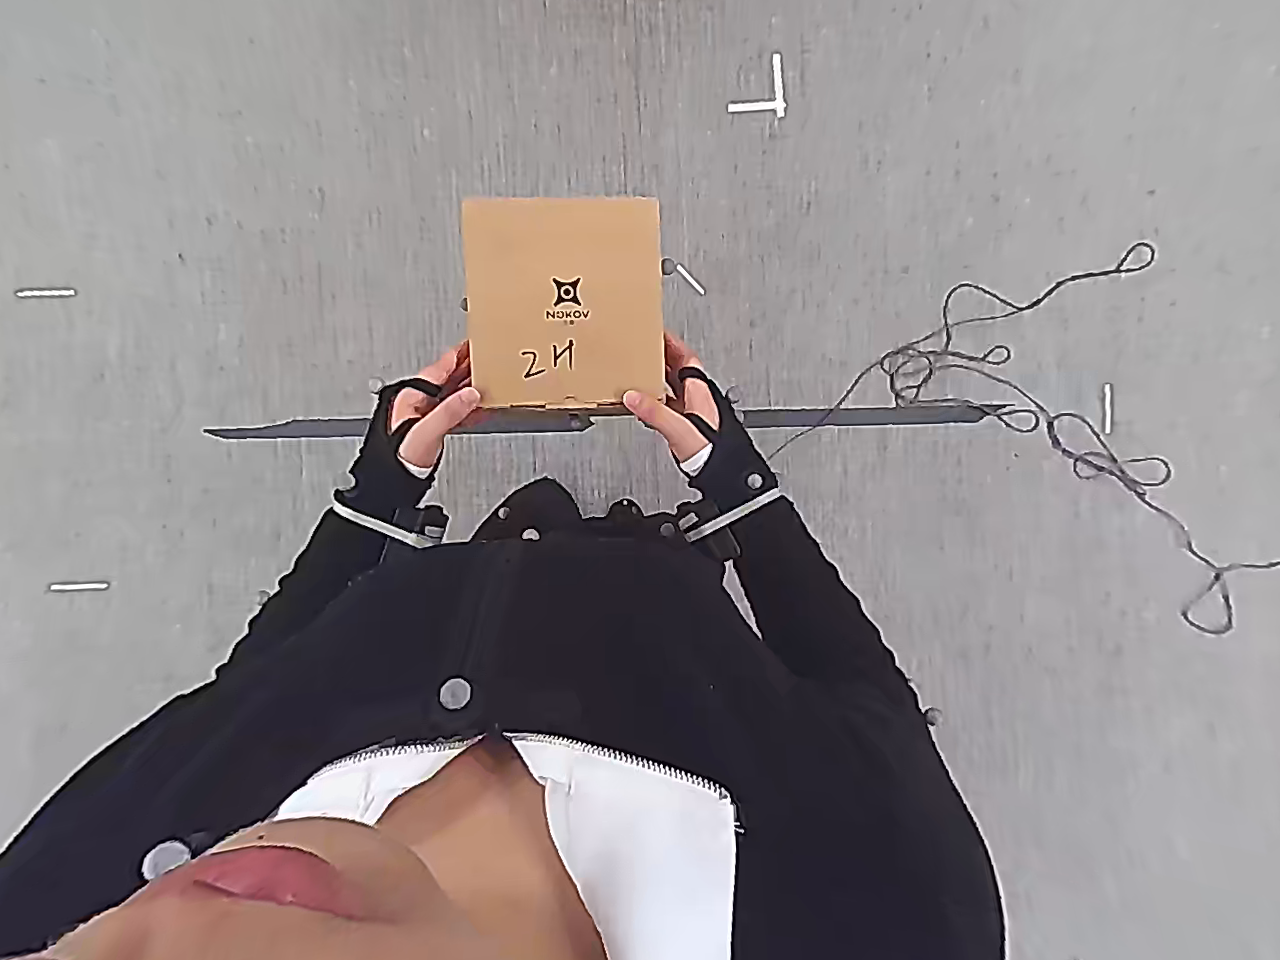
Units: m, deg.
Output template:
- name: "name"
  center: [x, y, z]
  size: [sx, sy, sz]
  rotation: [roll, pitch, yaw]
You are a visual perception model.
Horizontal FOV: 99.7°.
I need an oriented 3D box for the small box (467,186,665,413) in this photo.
- name: "small box"
  center: [-0.068, -0.162, 0.536]
  size: [0.168, 0.176, 0.179]
  rotation: [-2, 93, -4]
